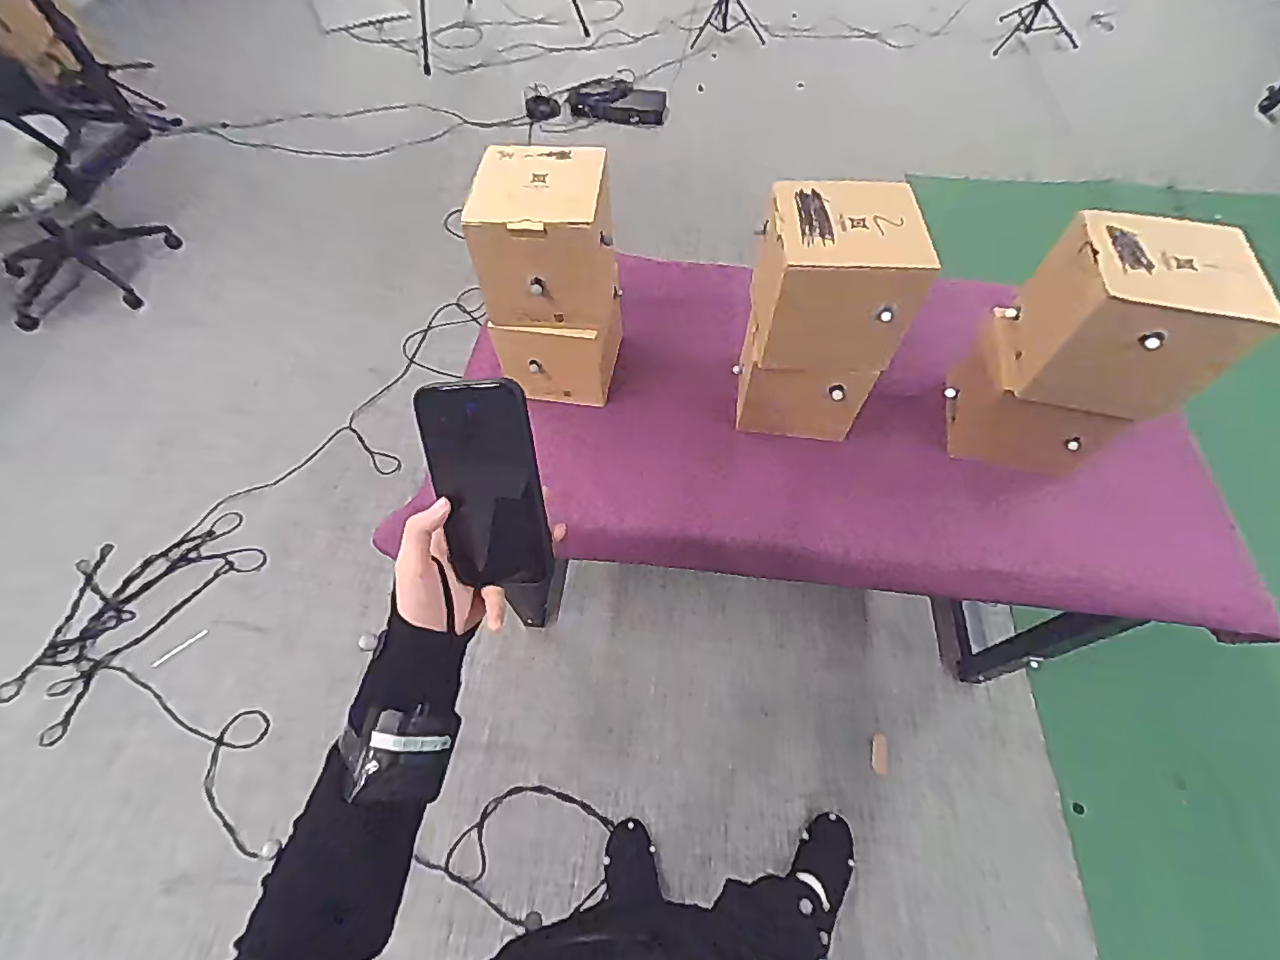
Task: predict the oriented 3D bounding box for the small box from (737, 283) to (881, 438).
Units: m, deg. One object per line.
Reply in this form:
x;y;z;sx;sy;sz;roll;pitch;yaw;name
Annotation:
0.255;-0.182;0.850;0.179;0.176;0.168;6;59;6;small box

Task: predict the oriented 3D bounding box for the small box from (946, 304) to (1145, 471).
0.590;-0.132;0.811;0.179;0.176;0.168;12;59;9;small box

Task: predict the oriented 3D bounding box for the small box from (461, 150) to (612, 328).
-0.131;-0.334;0.764;0.168;0.176;0.179;3;59;2;small box

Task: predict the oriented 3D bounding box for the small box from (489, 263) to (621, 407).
-0.128;-0.241;0.899;0.168;0.176;0.179;7;59;6;small box

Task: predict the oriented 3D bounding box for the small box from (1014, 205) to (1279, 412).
0.592;-0.204;0.663;0.179;0.176;0.168;12;59;8;small box
